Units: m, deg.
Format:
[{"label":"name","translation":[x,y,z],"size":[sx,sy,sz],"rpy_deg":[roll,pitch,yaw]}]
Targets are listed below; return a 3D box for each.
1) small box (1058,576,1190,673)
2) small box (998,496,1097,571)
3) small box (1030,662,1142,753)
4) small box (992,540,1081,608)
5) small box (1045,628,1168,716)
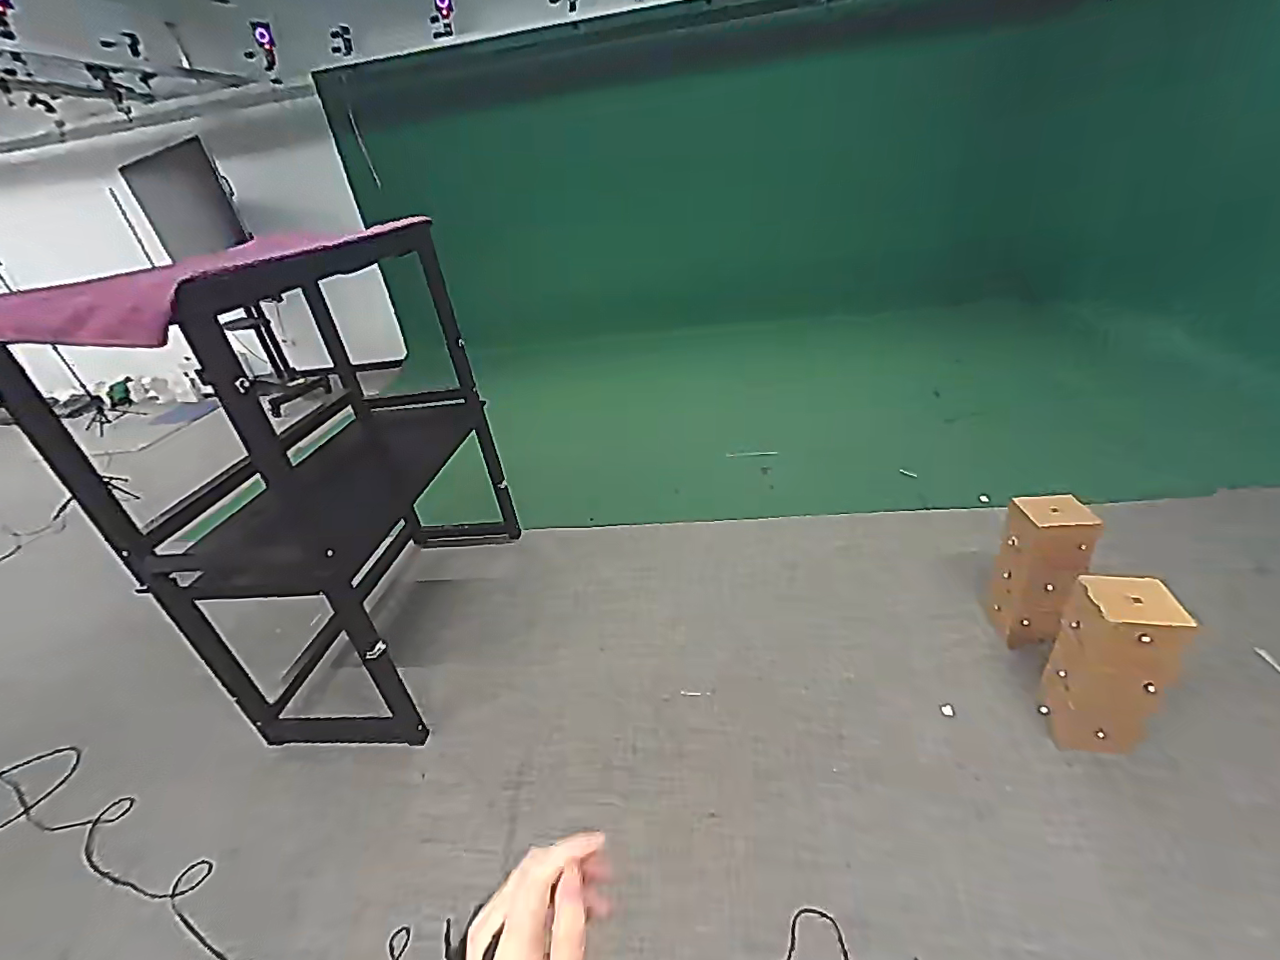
[{"label":"small box","translation":[1.207,0.365,1.366],"size":[0.179,0.176,0.168],"rpy_deg":[0,32,14]},{"label":"small box","translation":[1.260,0.167,1.685],"size":[0.179,0.176,0.168],"rpy_deg":[-5,29,7]},{"label":"small box","translation":[1.249,0.645,1.530],"size":[0.179,0.176,0.168],"rpy_deg":[-1,31,14]},{"label":"small box","translation":[1.285,0.304,1.769],"size":[0.179,0.176,0.168],"rpy_deg":[-5,30,7]},{"label":"small box","translation":[1.232,0.505,1.444],"size":[0.179,0.176,0.168],"rpy_deg":[-1,31,12]}]
